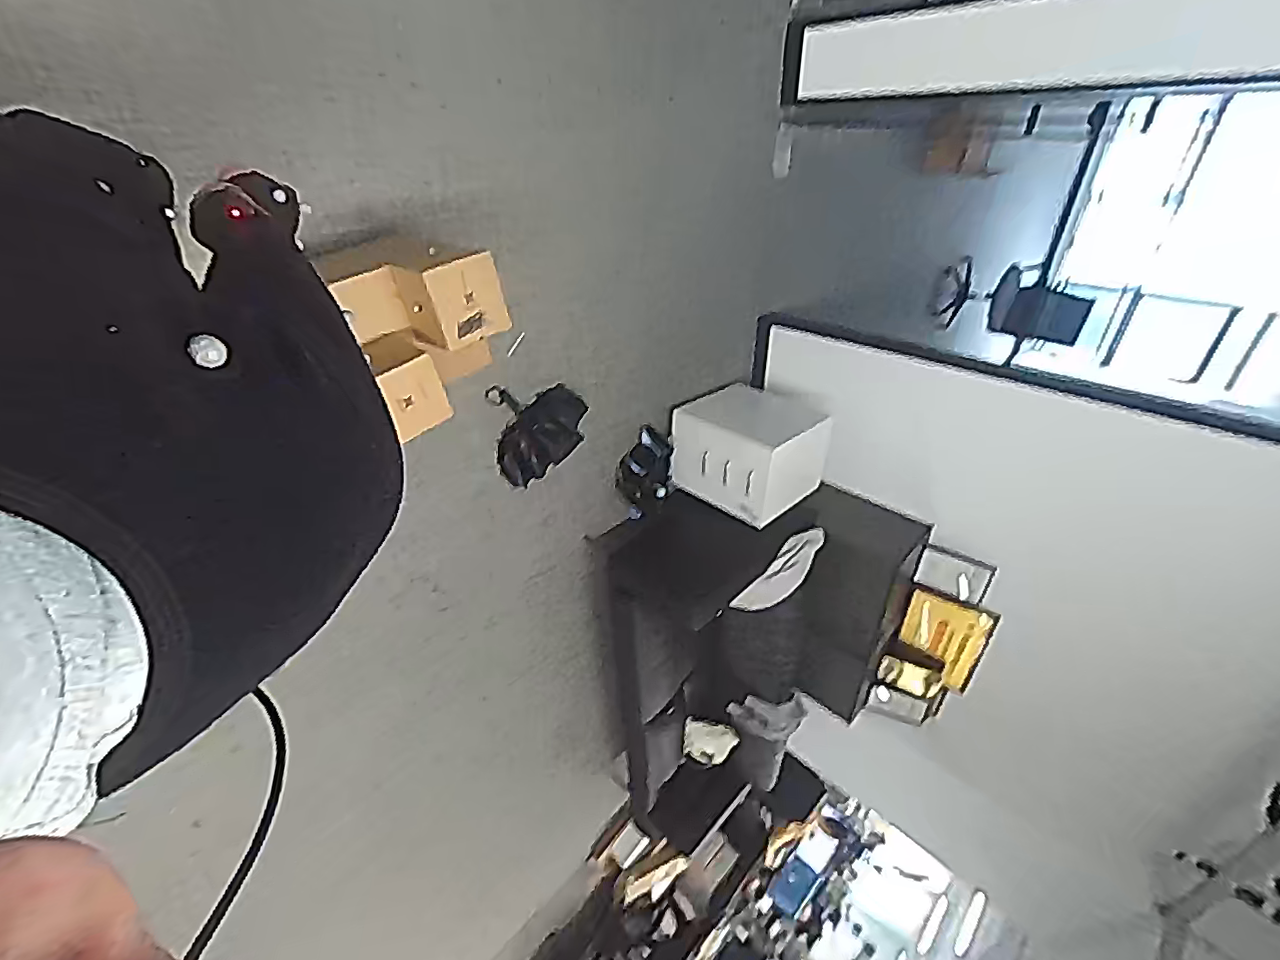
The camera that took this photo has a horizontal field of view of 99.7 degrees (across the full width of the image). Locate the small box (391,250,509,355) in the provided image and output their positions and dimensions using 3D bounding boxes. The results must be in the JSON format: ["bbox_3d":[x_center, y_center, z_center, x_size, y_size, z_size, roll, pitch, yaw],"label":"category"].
[{"bbox_3d":[-0.428,-0.407,1.223,0.168,0.176,0.179,-36,132,-32],"label":"small box"}]

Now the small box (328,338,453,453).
[{"bbox_3d":[-0.558,-0.193,1.200,0.179,0.176,0.168,-40,141,-30],"label":"small box"}]
